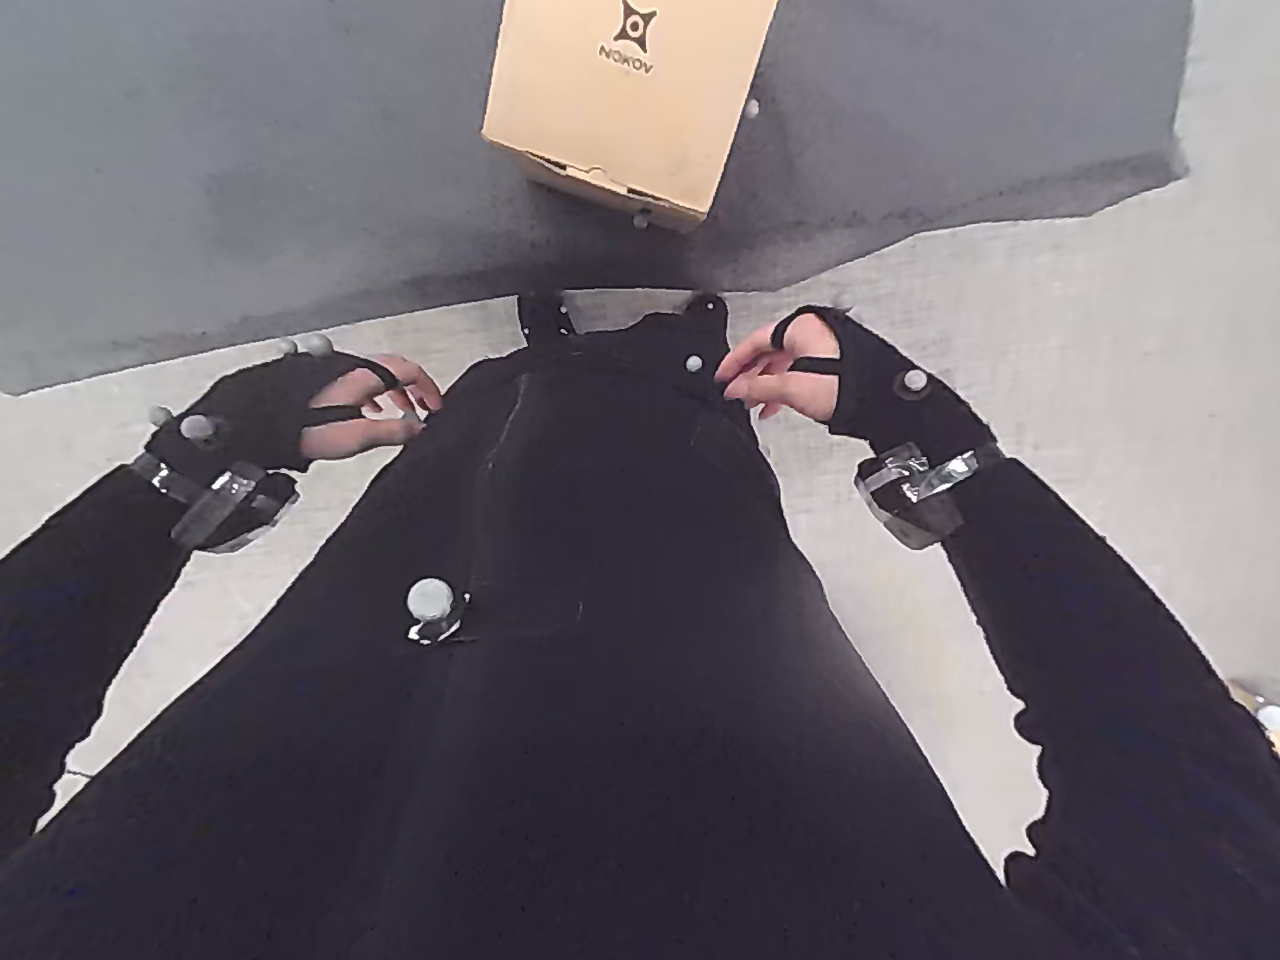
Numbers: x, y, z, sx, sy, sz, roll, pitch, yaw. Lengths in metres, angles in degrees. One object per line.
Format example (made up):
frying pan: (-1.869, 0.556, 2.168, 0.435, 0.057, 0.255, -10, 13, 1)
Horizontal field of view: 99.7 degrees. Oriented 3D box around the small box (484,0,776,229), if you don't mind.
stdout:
small box: (-0.006, -0.311, 0.421, 0.168, 0.176, 0.179, 15, 110, -7)
